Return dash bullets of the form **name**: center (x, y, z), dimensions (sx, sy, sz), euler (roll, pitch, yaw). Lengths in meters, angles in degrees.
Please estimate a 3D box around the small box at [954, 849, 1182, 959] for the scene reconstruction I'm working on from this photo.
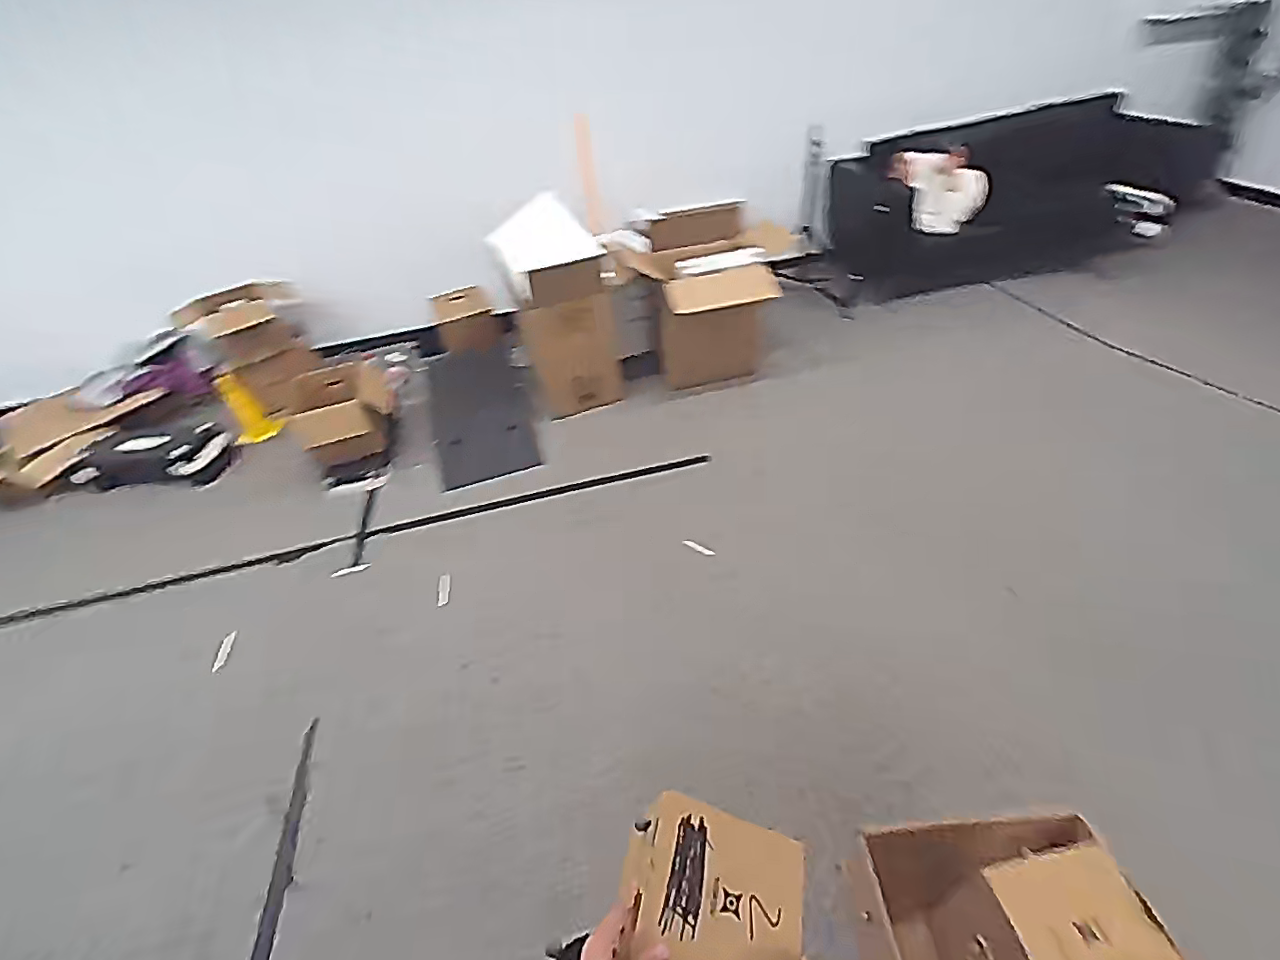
- **small box**: center (0.562, 0.622, 0.718), dimensions (0.179, 0.176, 0.168), euler (-9, 40, -3)
